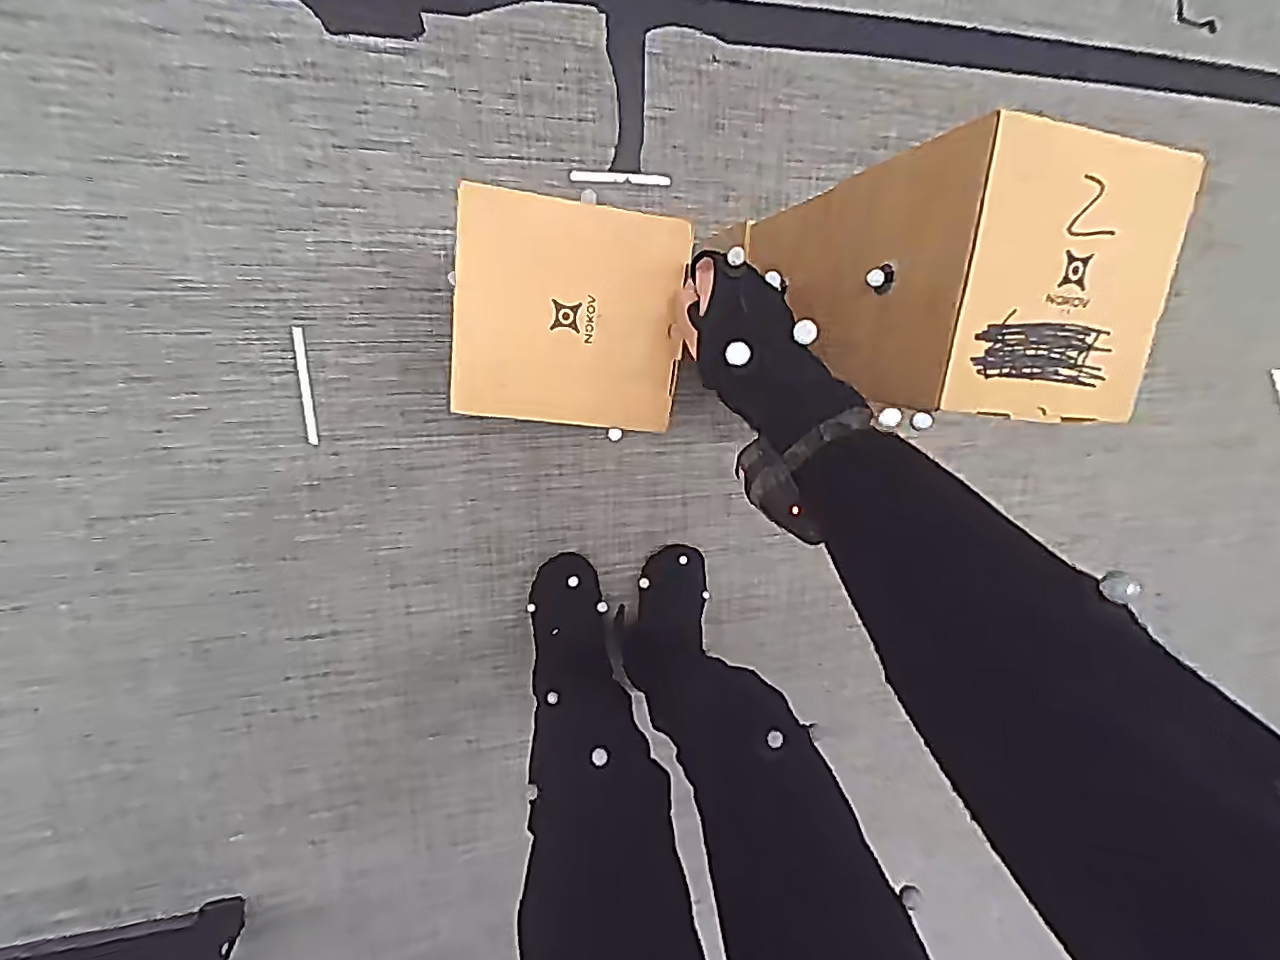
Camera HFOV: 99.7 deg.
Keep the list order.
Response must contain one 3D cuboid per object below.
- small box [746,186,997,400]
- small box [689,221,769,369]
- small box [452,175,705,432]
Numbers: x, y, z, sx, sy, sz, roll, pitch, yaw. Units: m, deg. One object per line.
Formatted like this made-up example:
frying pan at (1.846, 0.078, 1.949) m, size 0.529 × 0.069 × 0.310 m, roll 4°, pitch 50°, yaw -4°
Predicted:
small box at (0.225, -0.185, 0.573) m, size 0.168 × 0.176 × 0.179 m, roll 0°, pitch 104°, yaw -15°
small box at (0.182, -0.233, 0.725) m, size 0.179 × 0.176 × 0.168 m, roll 1°, pitch 105°, yaw -16°
small box at (-0.060, -0.143, 0.480) m, size 0.179 × 0.176 × 0.168 m, roll 4°, pitch 104°, yaw -13°
